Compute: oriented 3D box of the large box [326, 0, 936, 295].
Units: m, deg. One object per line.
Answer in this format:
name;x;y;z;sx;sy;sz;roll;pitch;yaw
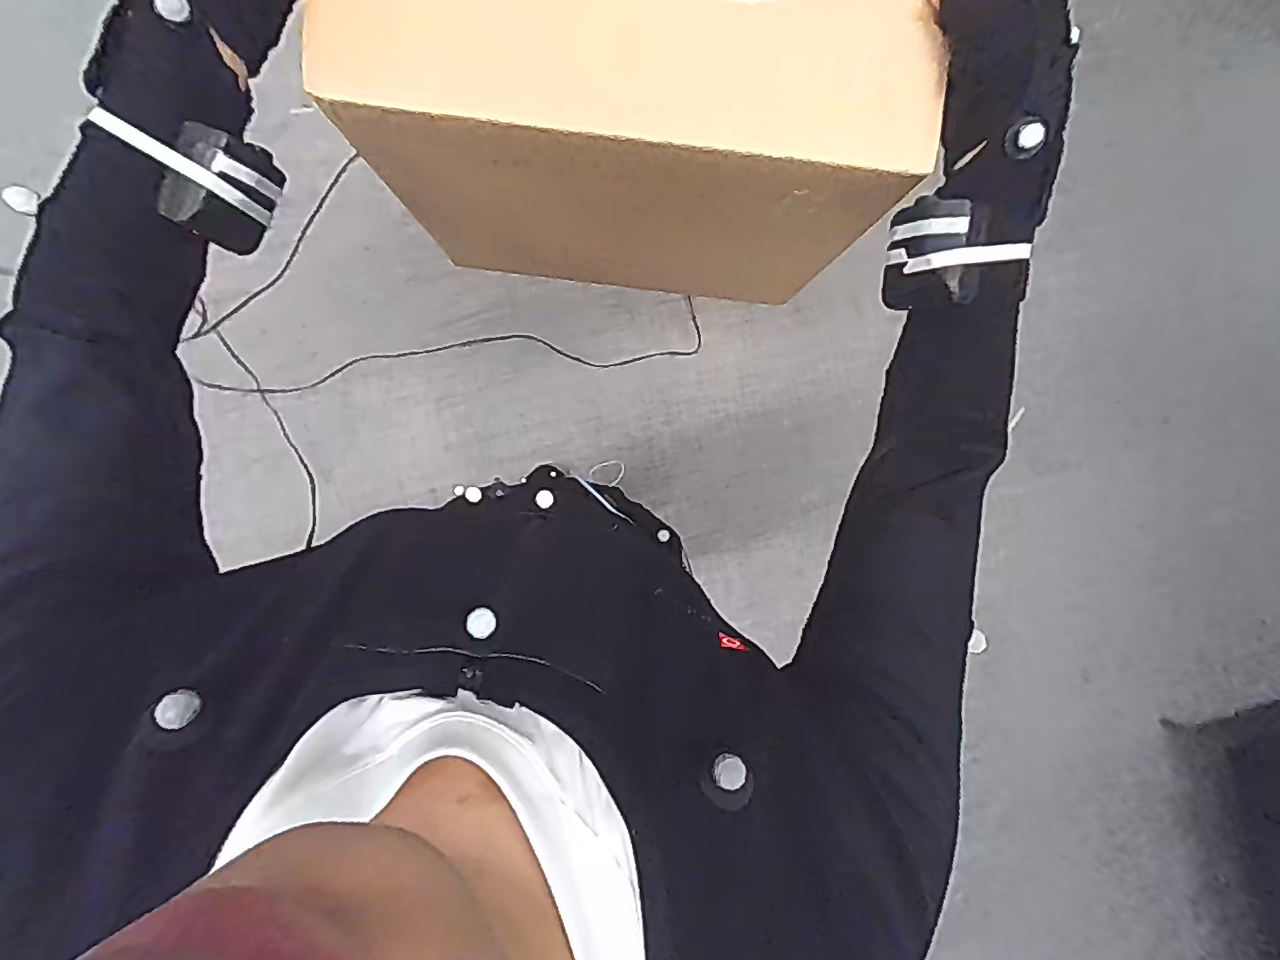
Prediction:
large box;-0.004;-0.385;0.501;0.408;0.320;0.320;5;92;-4
